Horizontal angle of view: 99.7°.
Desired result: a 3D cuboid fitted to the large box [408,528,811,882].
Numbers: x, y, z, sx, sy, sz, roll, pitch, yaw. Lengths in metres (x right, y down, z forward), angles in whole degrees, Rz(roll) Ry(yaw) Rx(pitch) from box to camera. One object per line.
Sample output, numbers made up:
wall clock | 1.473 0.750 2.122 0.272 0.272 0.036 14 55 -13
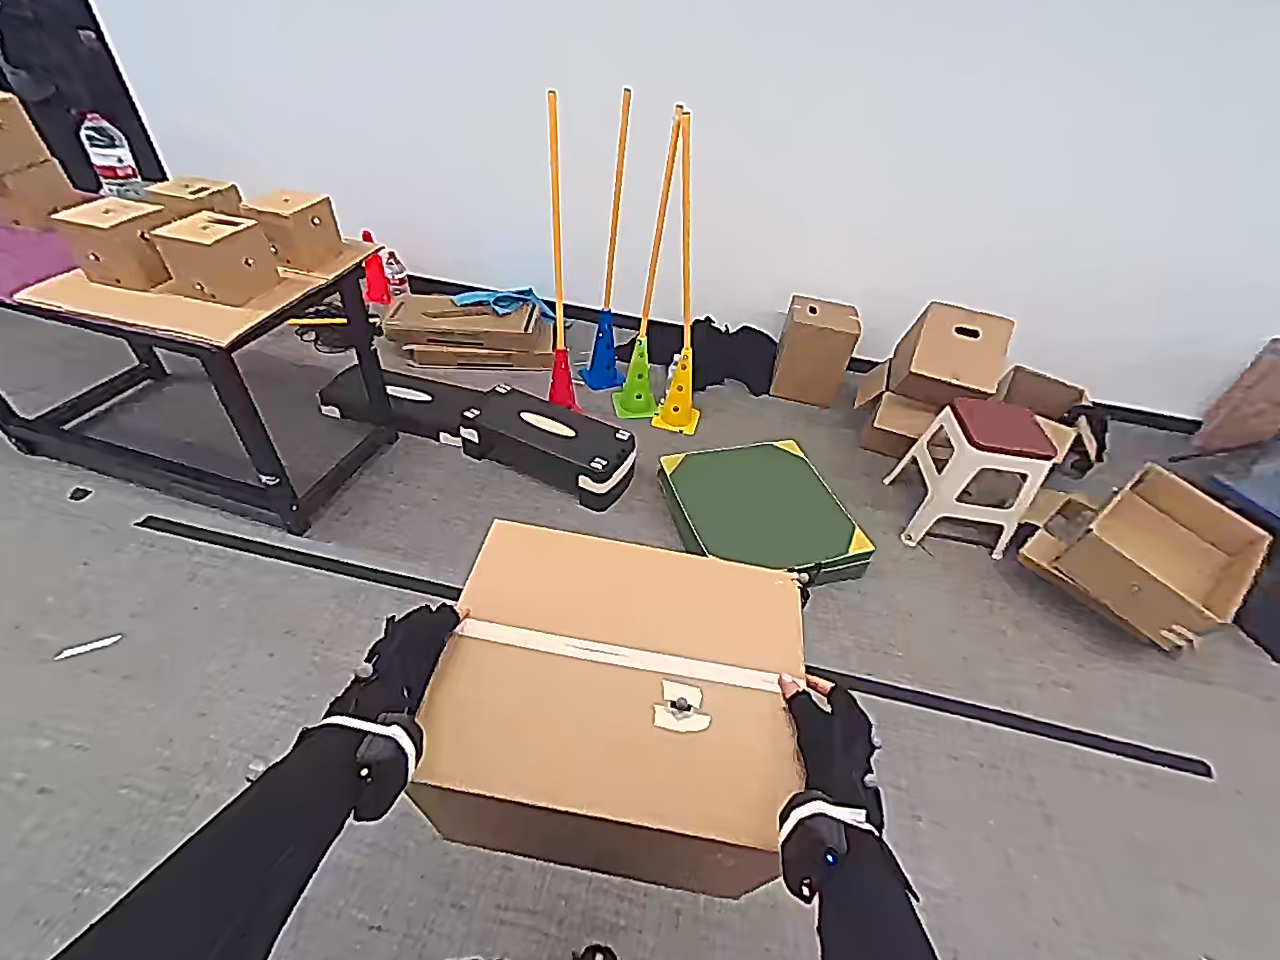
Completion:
large box | -0.030 0.304 0.727 0.408 0.320 0.320 10 47 1
